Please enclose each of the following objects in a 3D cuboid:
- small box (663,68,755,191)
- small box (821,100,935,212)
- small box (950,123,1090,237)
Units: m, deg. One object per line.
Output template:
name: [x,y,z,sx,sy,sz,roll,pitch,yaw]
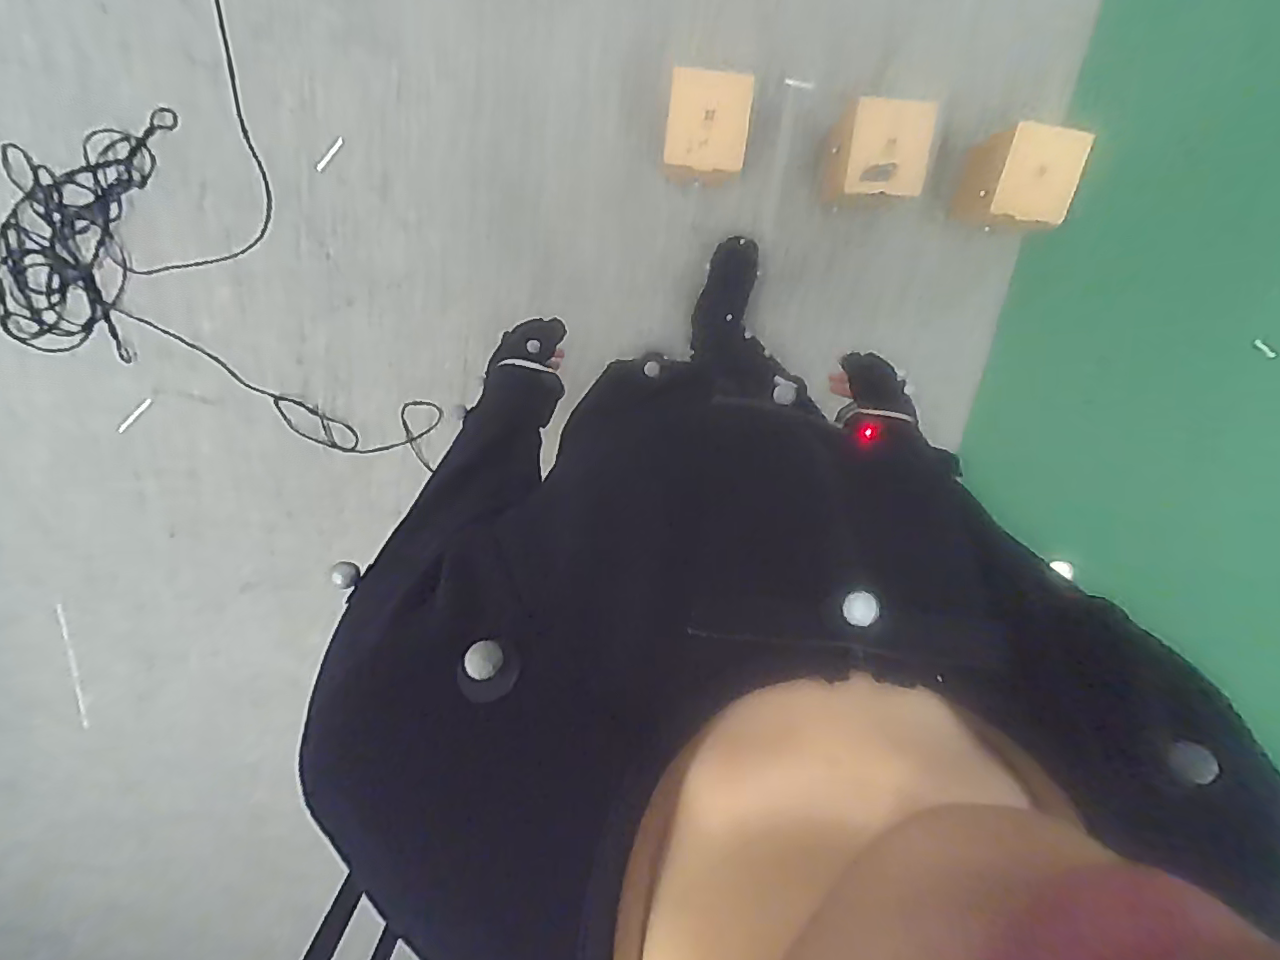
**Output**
small box: [0.141,-0.753,1.178,0.168,0.176,0.179,6,108,-1]
small box: [0.513,-0.704,1.194,0.168,0.176,0.179,4,106,-1]
small box: [0.834,-0.661,1.208,0.168,0.176,0.179,9,107,-2]
